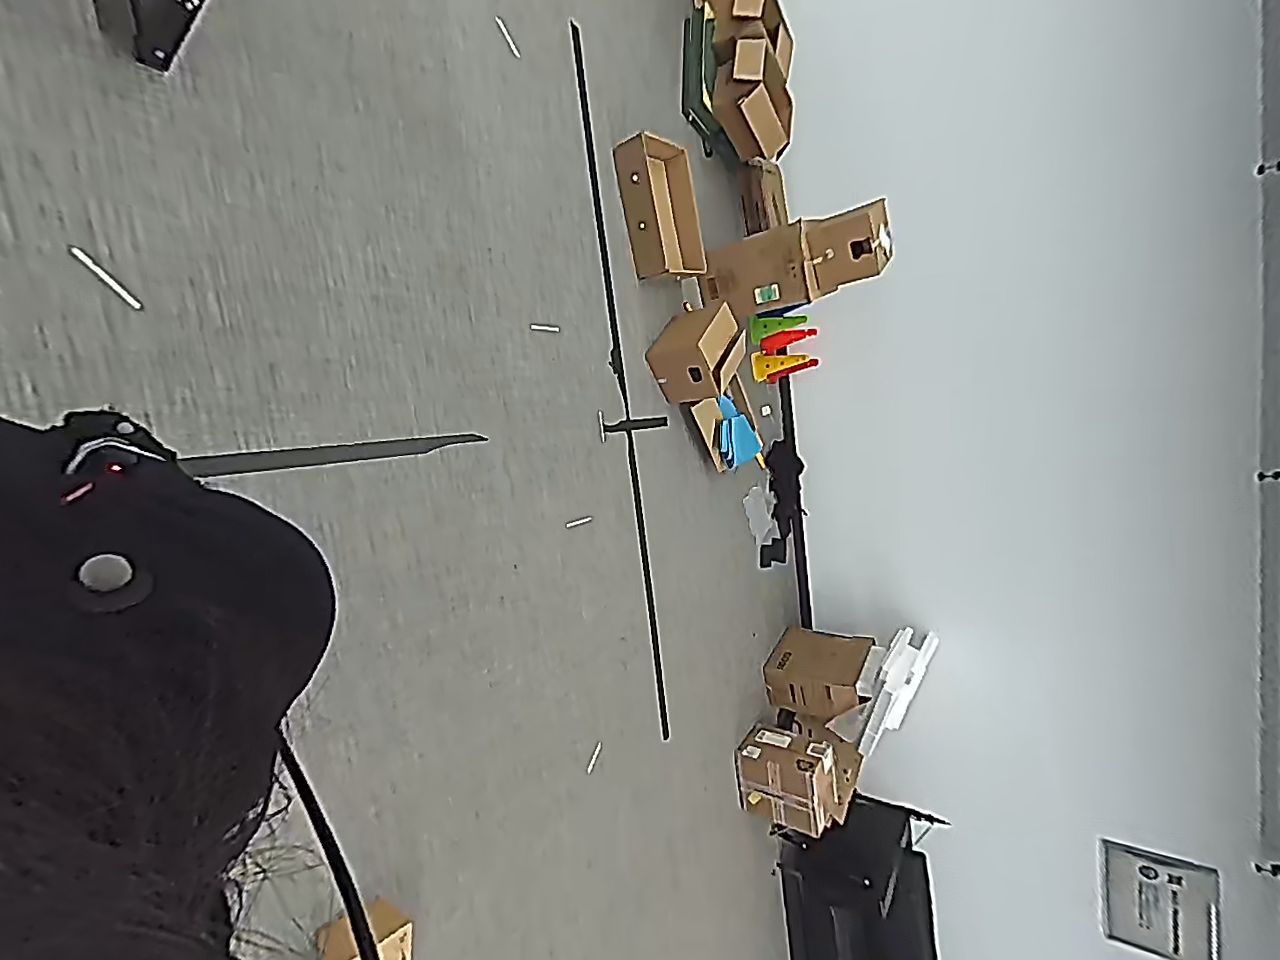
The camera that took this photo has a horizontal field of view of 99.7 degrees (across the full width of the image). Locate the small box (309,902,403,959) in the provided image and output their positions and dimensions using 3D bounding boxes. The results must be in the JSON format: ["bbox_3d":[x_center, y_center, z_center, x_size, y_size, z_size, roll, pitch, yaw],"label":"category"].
[{"bbox_3d":[-0.752,1.269,1.419,0.179,0.176,0.168,7,83,-53],"label":"small box"}]
